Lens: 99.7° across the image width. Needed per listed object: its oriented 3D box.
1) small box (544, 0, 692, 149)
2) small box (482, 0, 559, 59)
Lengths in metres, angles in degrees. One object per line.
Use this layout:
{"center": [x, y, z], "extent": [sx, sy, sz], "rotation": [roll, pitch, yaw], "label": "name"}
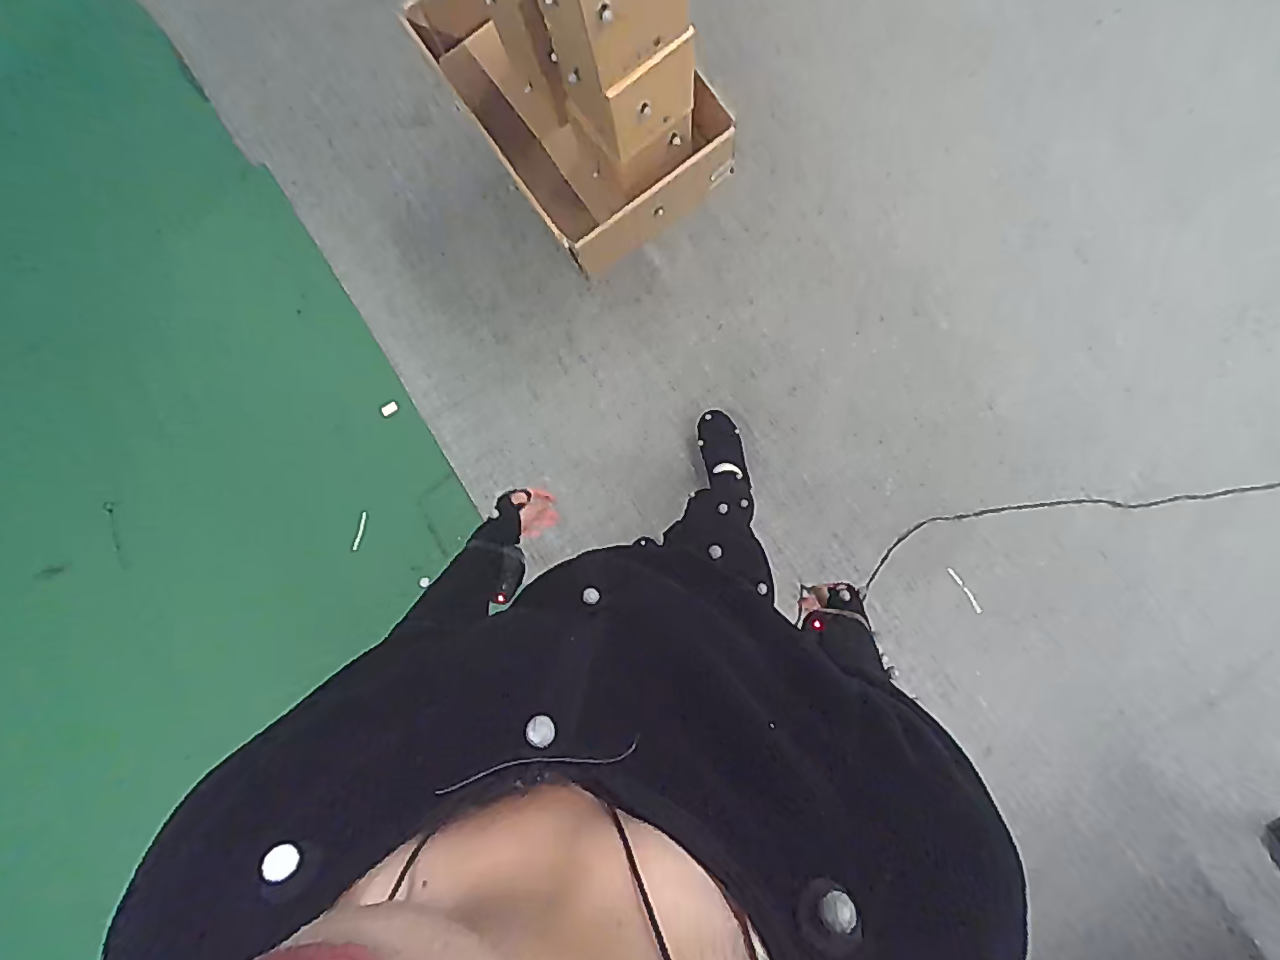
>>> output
{"center": [-0.026, -0.695, 0.901], "extent": [0.168, 0.176, 0.179], "rotation": [-37, 85, 3], "label": "small box"}
{"center": [-0.183, -0.873, 0.919], "extent": [0.168, 0.176, 0.179], "rotation": [-40, 88, 3], "label": "small box"}
